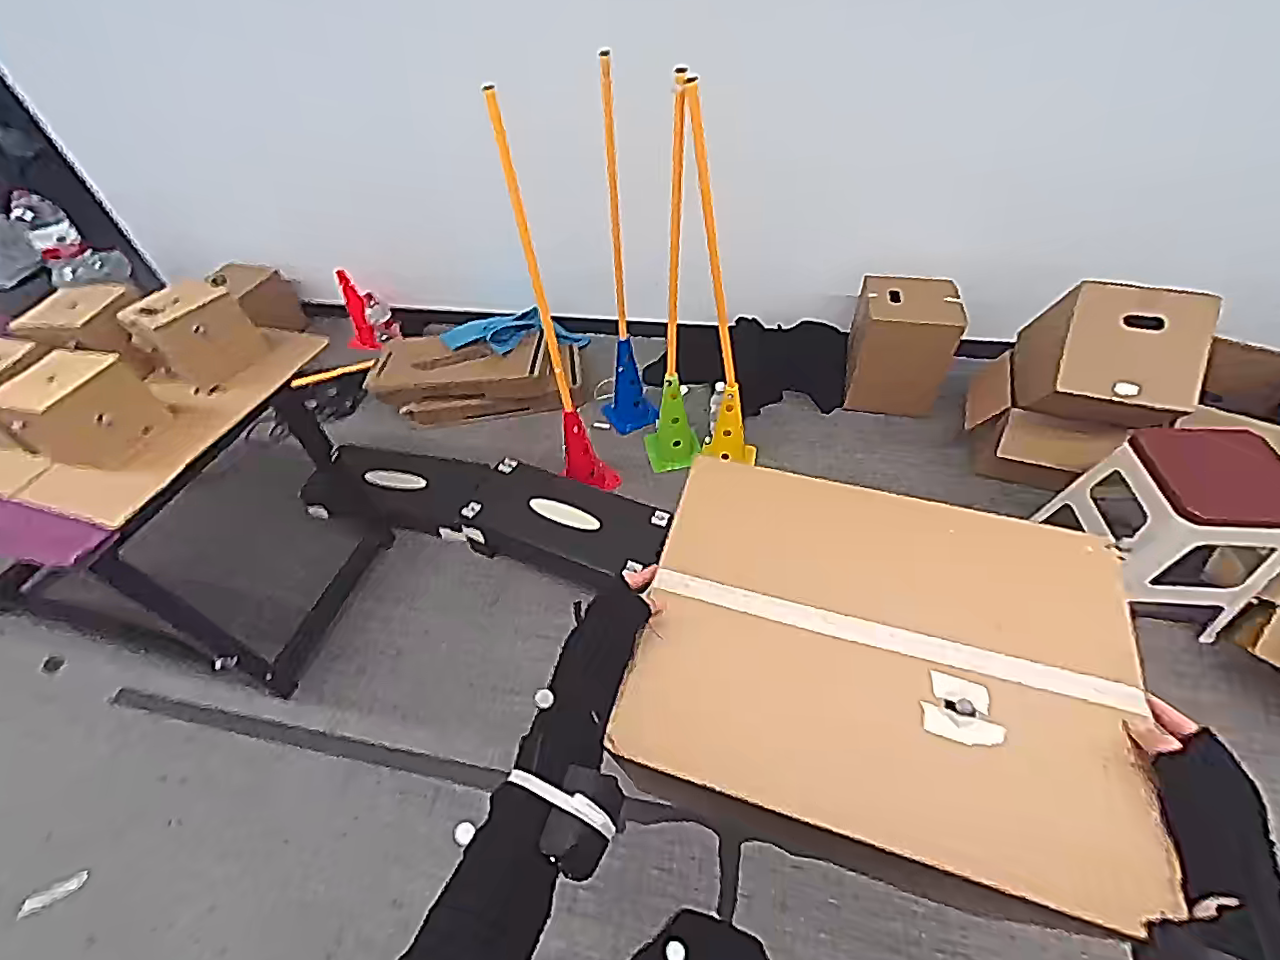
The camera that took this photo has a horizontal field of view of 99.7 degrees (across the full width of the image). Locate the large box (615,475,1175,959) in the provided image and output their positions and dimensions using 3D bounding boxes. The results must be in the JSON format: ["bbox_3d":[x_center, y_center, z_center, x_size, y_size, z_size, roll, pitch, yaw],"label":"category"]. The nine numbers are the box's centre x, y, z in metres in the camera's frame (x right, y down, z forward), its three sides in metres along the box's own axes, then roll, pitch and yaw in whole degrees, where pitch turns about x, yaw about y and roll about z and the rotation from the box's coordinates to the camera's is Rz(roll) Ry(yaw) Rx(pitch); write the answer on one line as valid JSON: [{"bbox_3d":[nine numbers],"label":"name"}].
[{"bbox_3d":[0.220,0.240,0.599,0.408,0.320,0.320,13,58,14],"label":"large box"}]
